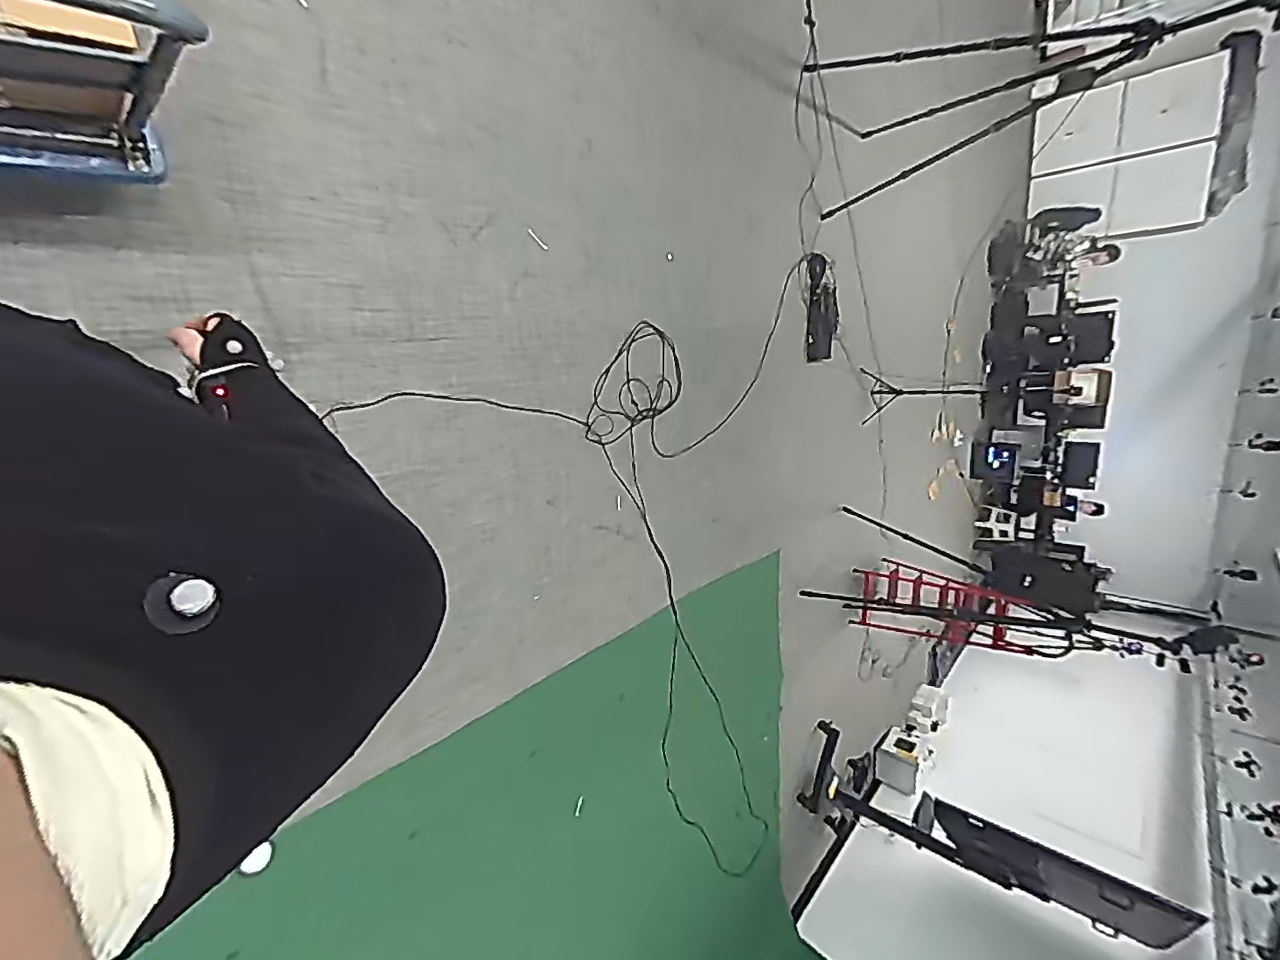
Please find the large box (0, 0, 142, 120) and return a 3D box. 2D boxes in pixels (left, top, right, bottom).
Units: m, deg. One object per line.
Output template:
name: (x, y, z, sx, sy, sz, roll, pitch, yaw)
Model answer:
large box: (-1.012, -0.814, 0.785, 0.320, 0.320, 0.408, -25, 112, -42)
